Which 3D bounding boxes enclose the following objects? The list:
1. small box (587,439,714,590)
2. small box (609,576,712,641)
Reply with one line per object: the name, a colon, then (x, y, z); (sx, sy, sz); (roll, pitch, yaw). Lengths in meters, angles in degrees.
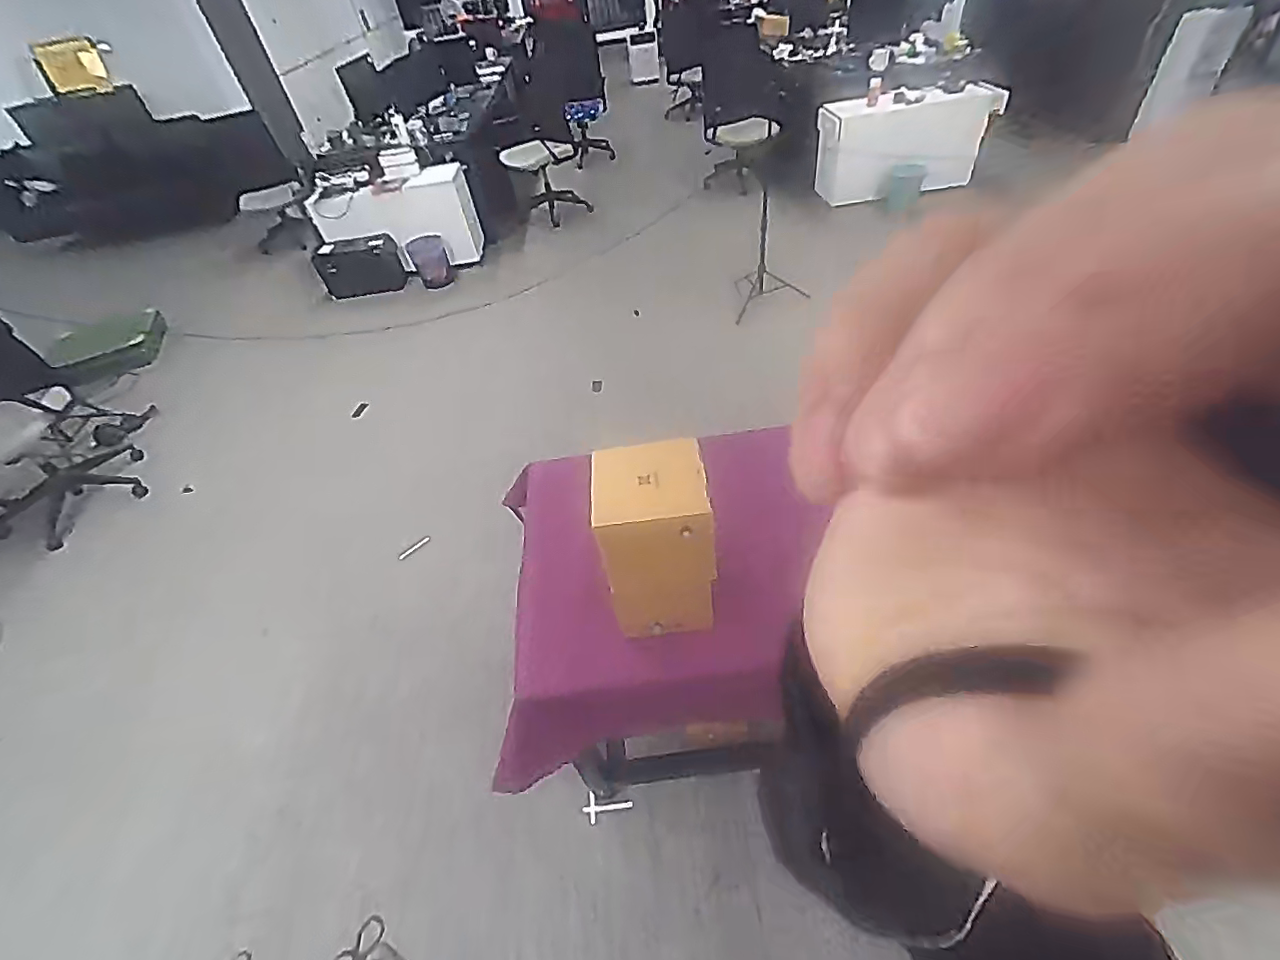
small box: (0.019, 0.060, 0.867); (0.179, 0.176, 0.168); (-8, 45, 3)
small box: (0.036, 0.169, 0.986); (0.168, 0.176, 0.179); (-9, 46, 3)
